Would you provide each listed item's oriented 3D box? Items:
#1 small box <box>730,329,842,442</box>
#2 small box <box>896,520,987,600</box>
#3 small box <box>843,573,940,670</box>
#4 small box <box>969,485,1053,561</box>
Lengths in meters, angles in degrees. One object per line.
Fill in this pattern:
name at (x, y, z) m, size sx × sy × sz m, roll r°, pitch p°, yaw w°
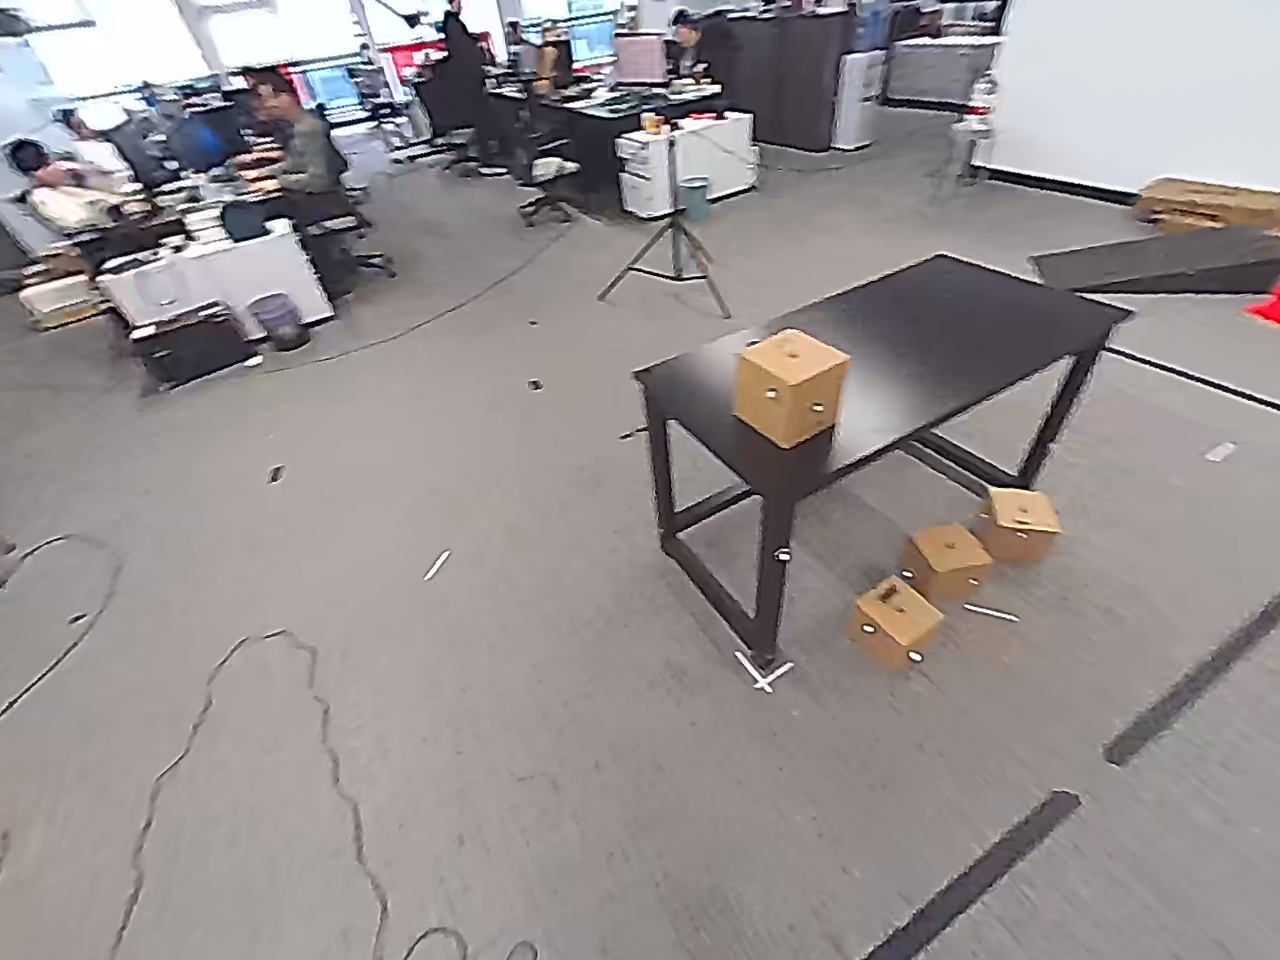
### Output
small box at (0.321, -0.207, 1.214) m, size 0.168 × 0.176 × 0.179 m, roll -27°, pitch 45°, yaw -20°
small box at (0.937, 0.254, 1.700) m, size 0.179 × 0.176 × 0.168 m, roll -12°, pitch 42°, yaw -2°
small box at (0.717, 0.410, 1.565) m, size 0.168 × 0.176 × 0.179 m, roll -27°, pitch 47°, yaw -18°
small box at (1.208, 0.140, 1.775) m, size 0.168 × 0.176 × 0.179 m, roll 4°, pitch 44°, yaw 14°
